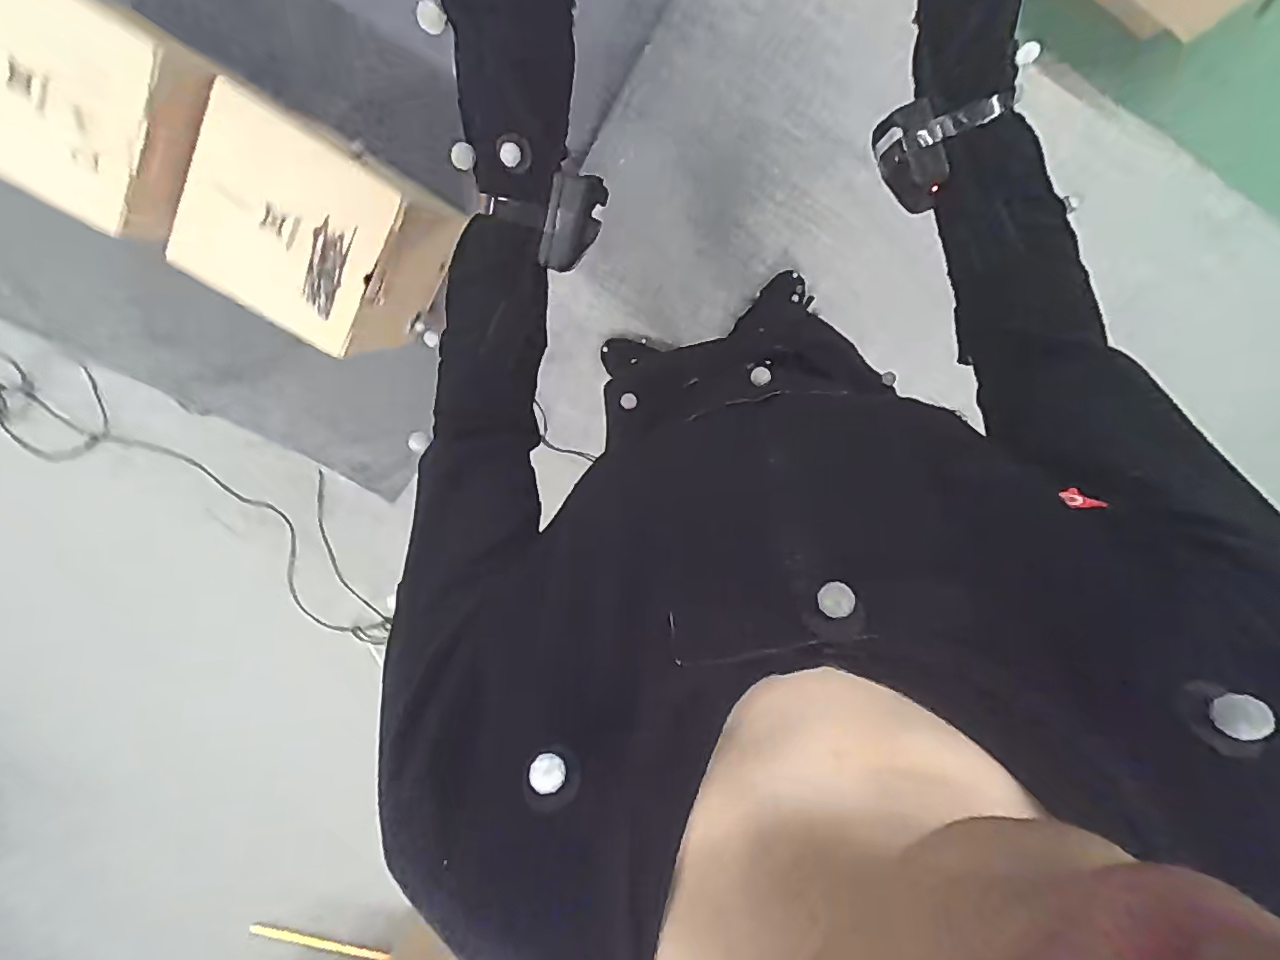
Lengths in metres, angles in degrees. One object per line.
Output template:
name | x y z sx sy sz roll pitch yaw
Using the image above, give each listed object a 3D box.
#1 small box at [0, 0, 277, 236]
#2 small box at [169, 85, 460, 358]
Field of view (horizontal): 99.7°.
small box | -0.504 -0.352 0.527 0.179 0.176 0.168 29 108 -10
small box | -0.316 -0.251 0.561 0.179 0.176 0.168 30 107 -8
